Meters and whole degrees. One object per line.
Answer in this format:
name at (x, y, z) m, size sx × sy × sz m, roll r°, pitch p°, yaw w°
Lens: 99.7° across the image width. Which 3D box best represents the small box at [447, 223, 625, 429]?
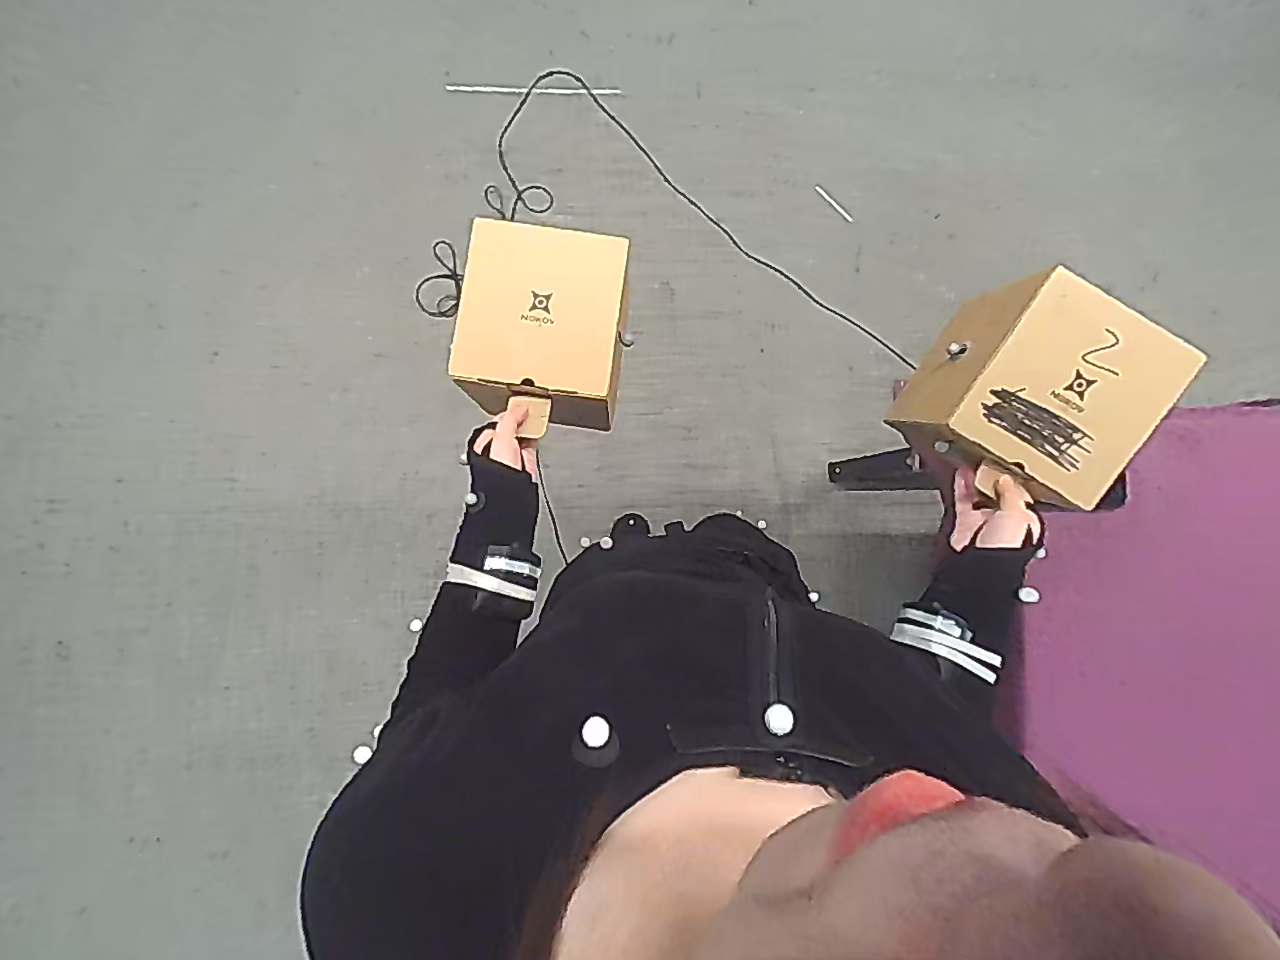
small box at (-0.112, -0.170, 0.646) m, size 0.168 × 0.176 × 0.179 m, roll 7°, pitch 85°, yaw -1°
